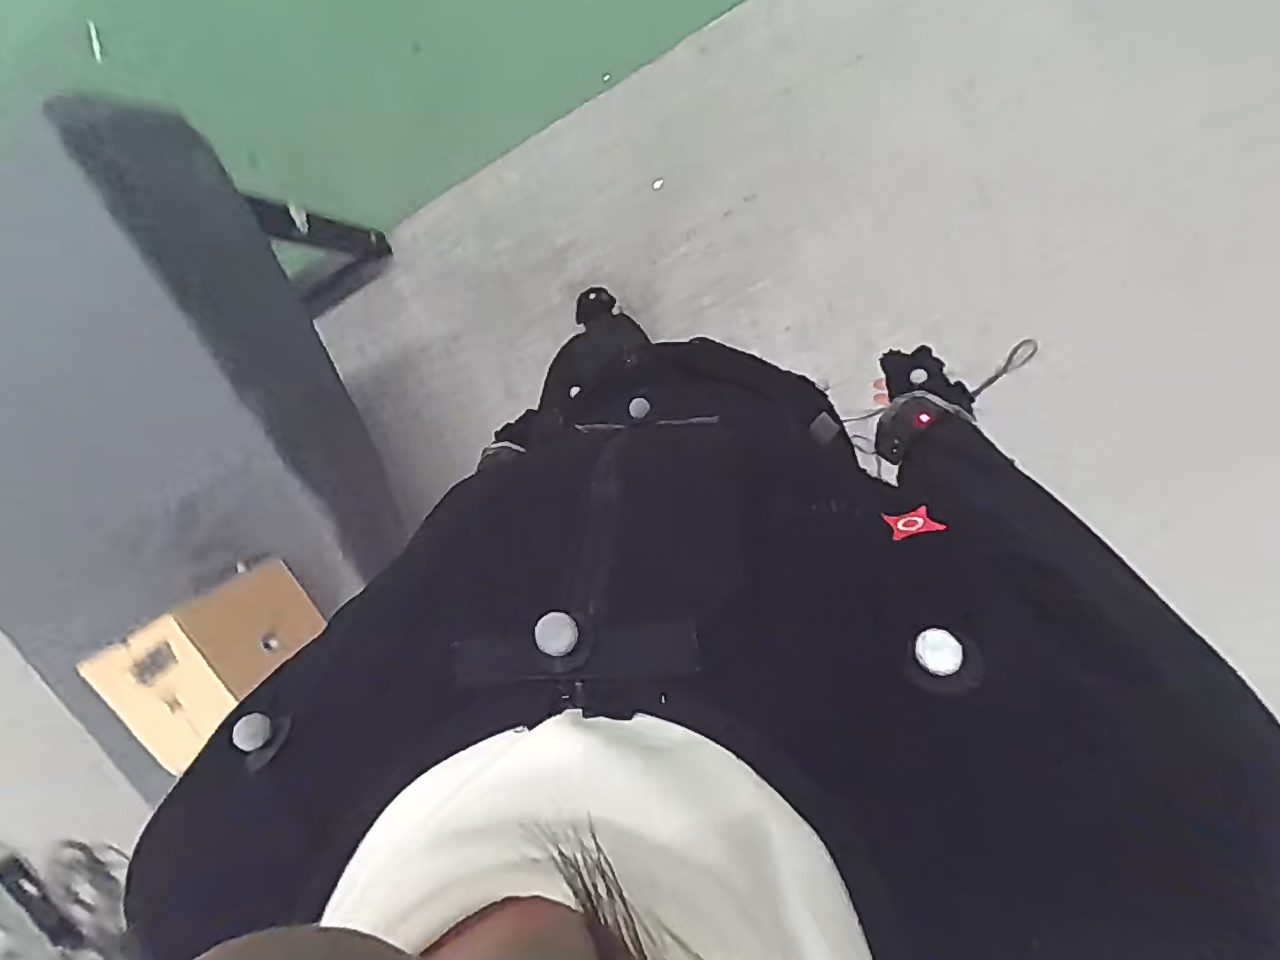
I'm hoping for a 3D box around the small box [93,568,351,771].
[{"bbox_3d":[-0.542,0.239,0.727,0.168,0.176,0.179,-27,102,13],"label":"small box"}]
